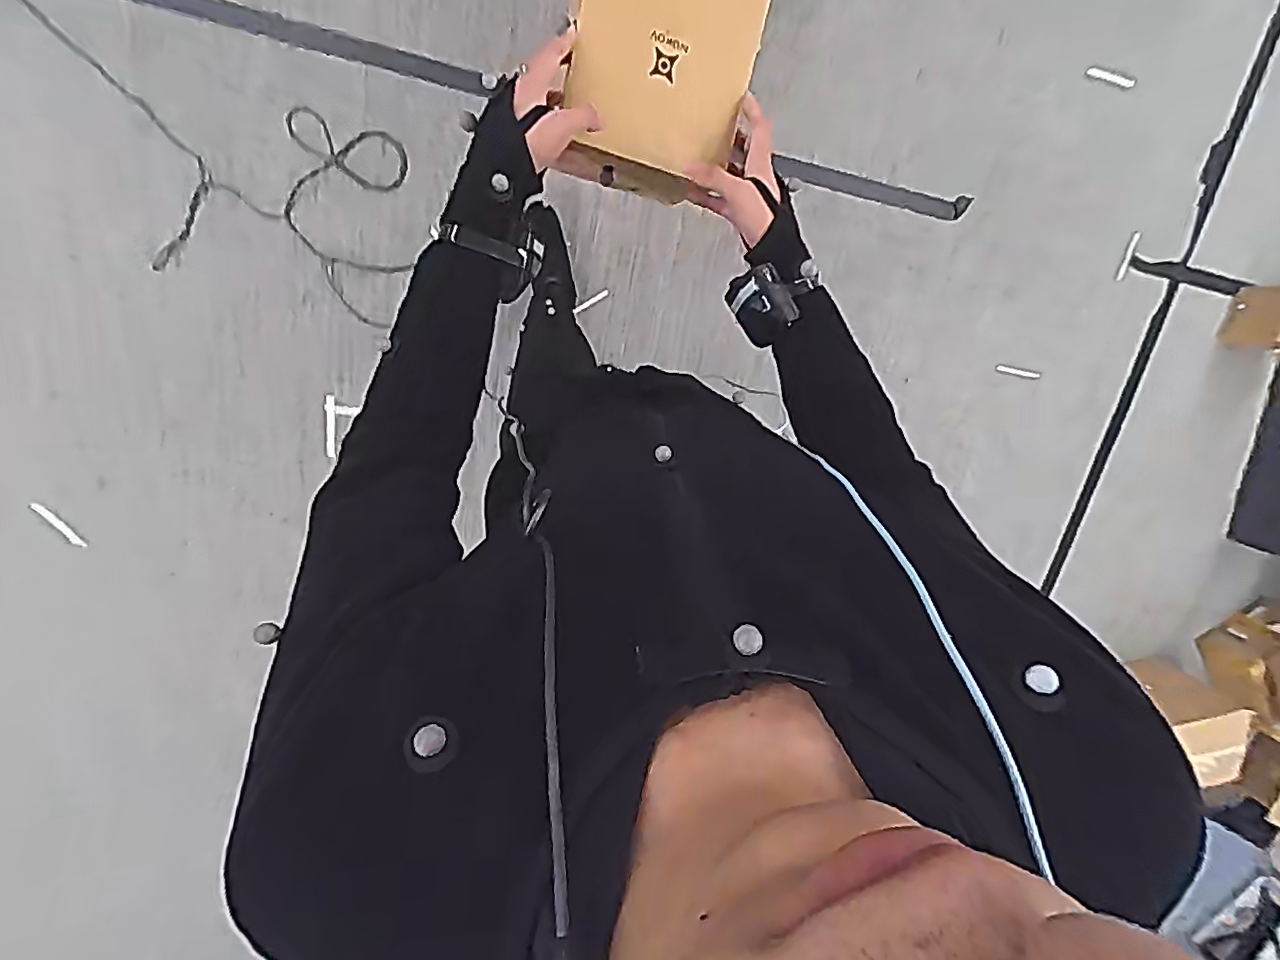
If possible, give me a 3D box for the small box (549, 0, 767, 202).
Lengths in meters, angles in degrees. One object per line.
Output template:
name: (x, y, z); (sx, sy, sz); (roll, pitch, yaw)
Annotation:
small box: (0.003, -0.405, 0.555); (0.168, 0.176, 0.179); (9, 107, -17)
